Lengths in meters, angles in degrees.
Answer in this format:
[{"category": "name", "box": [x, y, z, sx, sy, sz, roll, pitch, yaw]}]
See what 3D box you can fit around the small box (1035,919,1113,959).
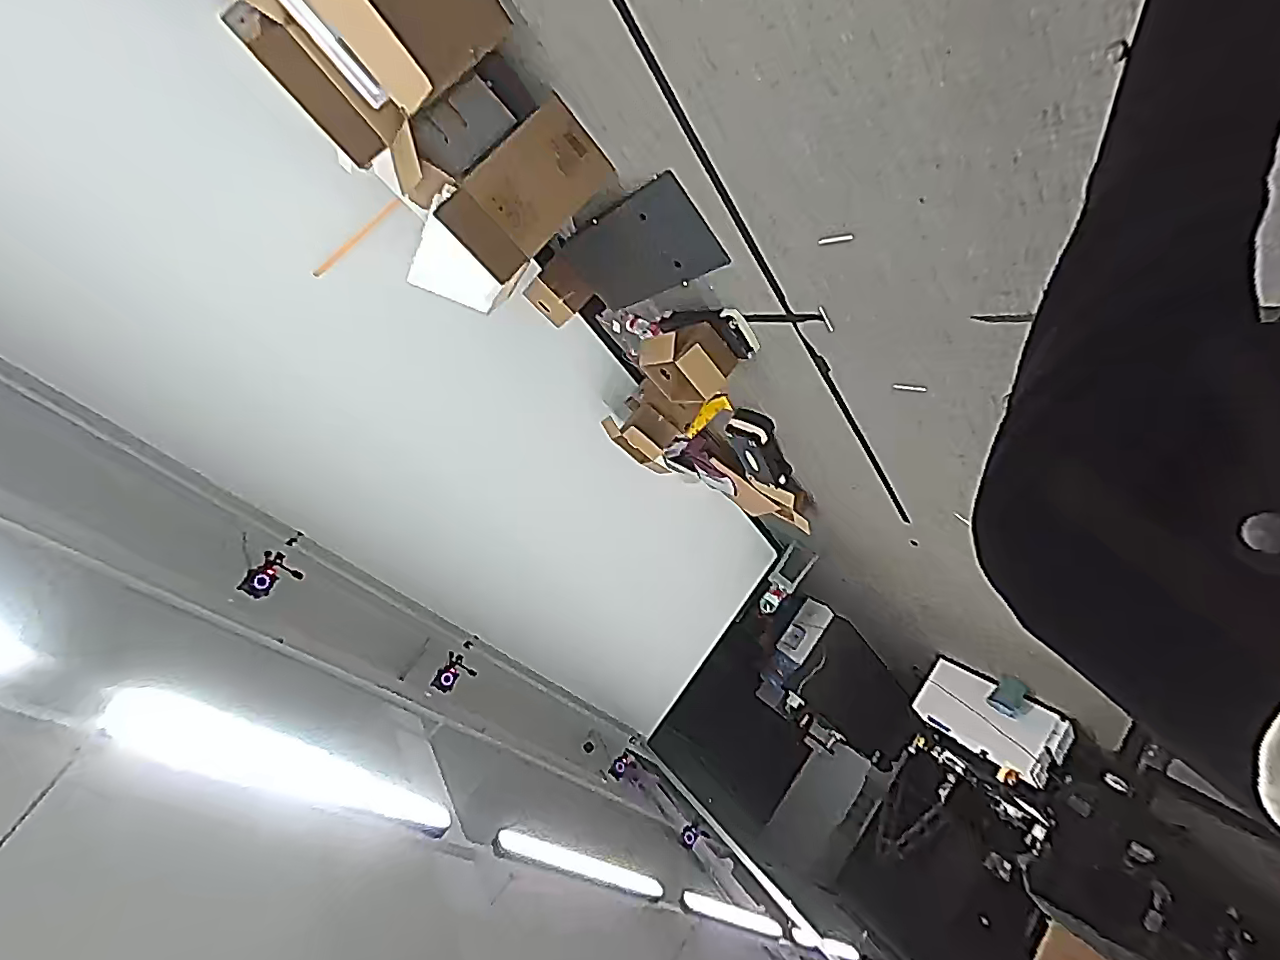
[{"category": "small box", "box": [1.287, 1.436, 1.587, 0.168, 0.176, 0.179, 23, 162, 50]}]
